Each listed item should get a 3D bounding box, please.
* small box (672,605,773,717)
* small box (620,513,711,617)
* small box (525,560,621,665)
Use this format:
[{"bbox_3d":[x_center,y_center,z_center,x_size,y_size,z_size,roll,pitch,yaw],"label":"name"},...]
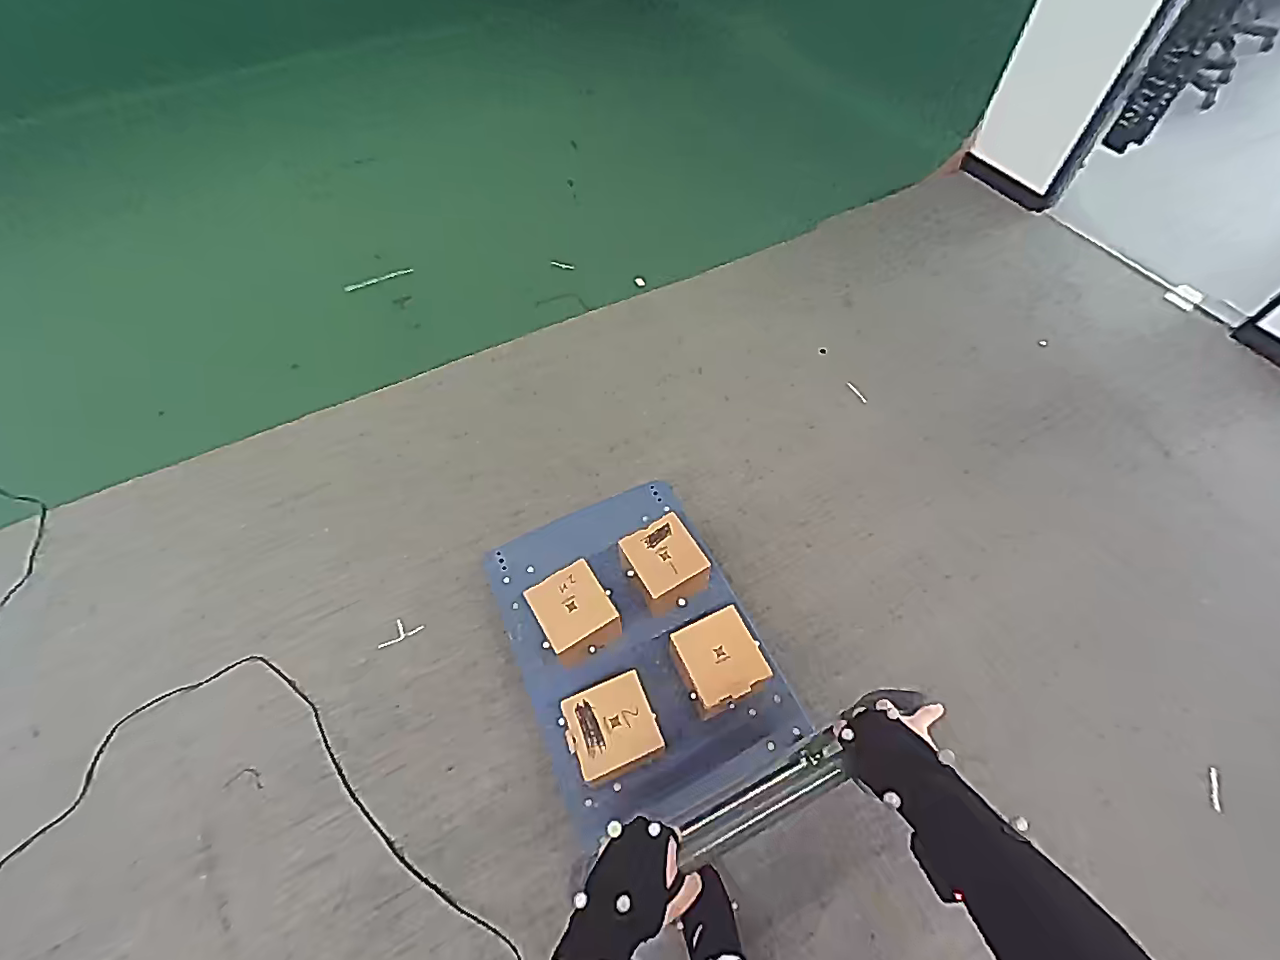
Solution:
[{"bbox_3d":[0.182,0.426,1.260,0.168,0.176,0.179,-23,61,-12],"label":"small box"},{"bbox_3d":[0.062,0.223,1.389,0.168,0.176,0.179,-28,62,-14],"label":"small box"},{"bbox_3d":[-0.158,0.333,1.327,0.168,0.176,0.179,-29,61,-16],"label":"small box"}]
